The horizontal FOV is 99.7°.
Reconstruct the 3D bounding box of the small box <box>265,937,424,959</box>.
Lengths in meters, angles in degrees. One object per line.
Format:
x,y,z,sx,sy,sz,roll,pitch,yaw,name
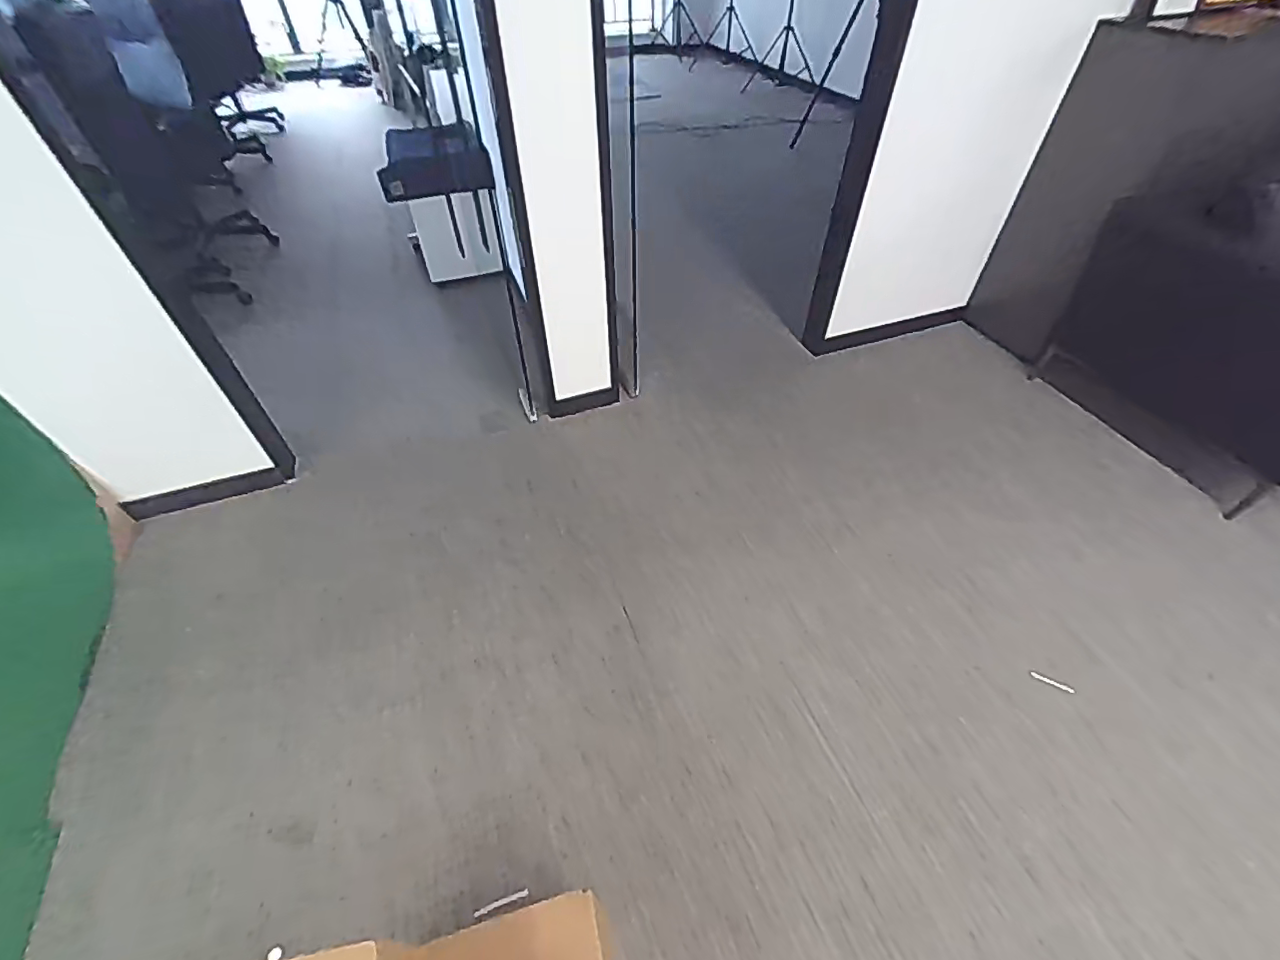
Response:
-0.347,0.614,0.573,0.179,0.176,0.168,-7,47,-7,small box
